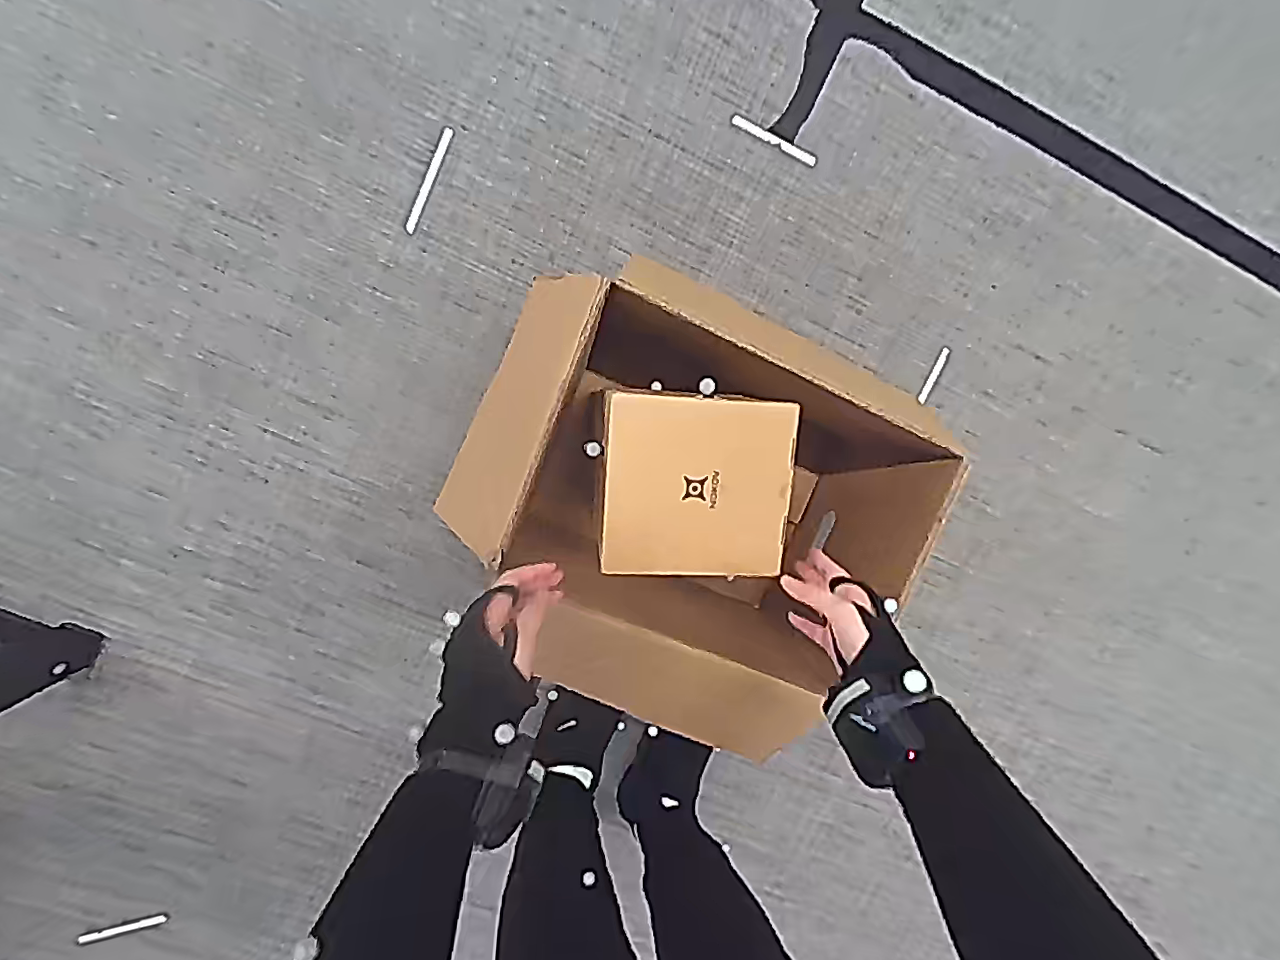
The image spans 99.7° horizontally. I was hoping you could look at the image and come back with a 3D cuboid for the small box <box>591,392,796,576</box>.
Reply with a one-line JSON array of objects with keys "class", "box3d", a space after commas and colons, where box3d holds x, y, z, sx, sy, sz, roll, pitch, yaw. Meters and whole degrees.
[{"class": "small box", "box3d": [0.041, -0.005, 0.572, 0.179, 0.176, 0.168, 2, 100, -9]}]
